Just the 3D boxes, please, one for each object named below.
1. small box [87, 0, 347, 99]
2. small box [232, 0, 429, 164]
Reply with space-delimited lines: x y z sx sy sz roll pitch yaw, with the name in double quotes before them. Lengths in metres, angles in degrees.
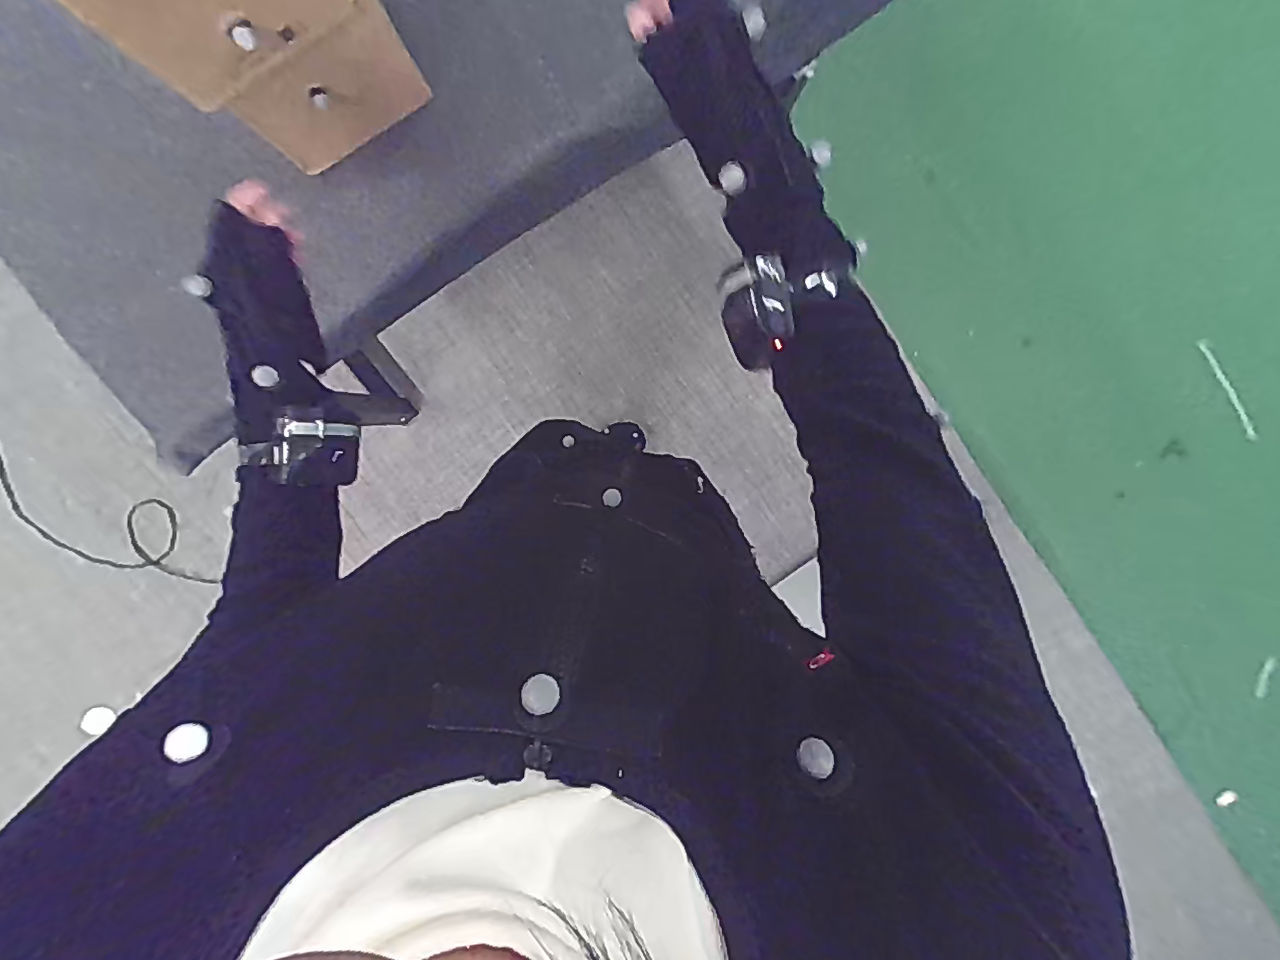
"small box" -0.366 -0.442 0.396 0.168 0.176 0.179 -36 94 3
"small box" -0.357 -0.473 0.558 0.179 0.176 0.168 -32 96 3
